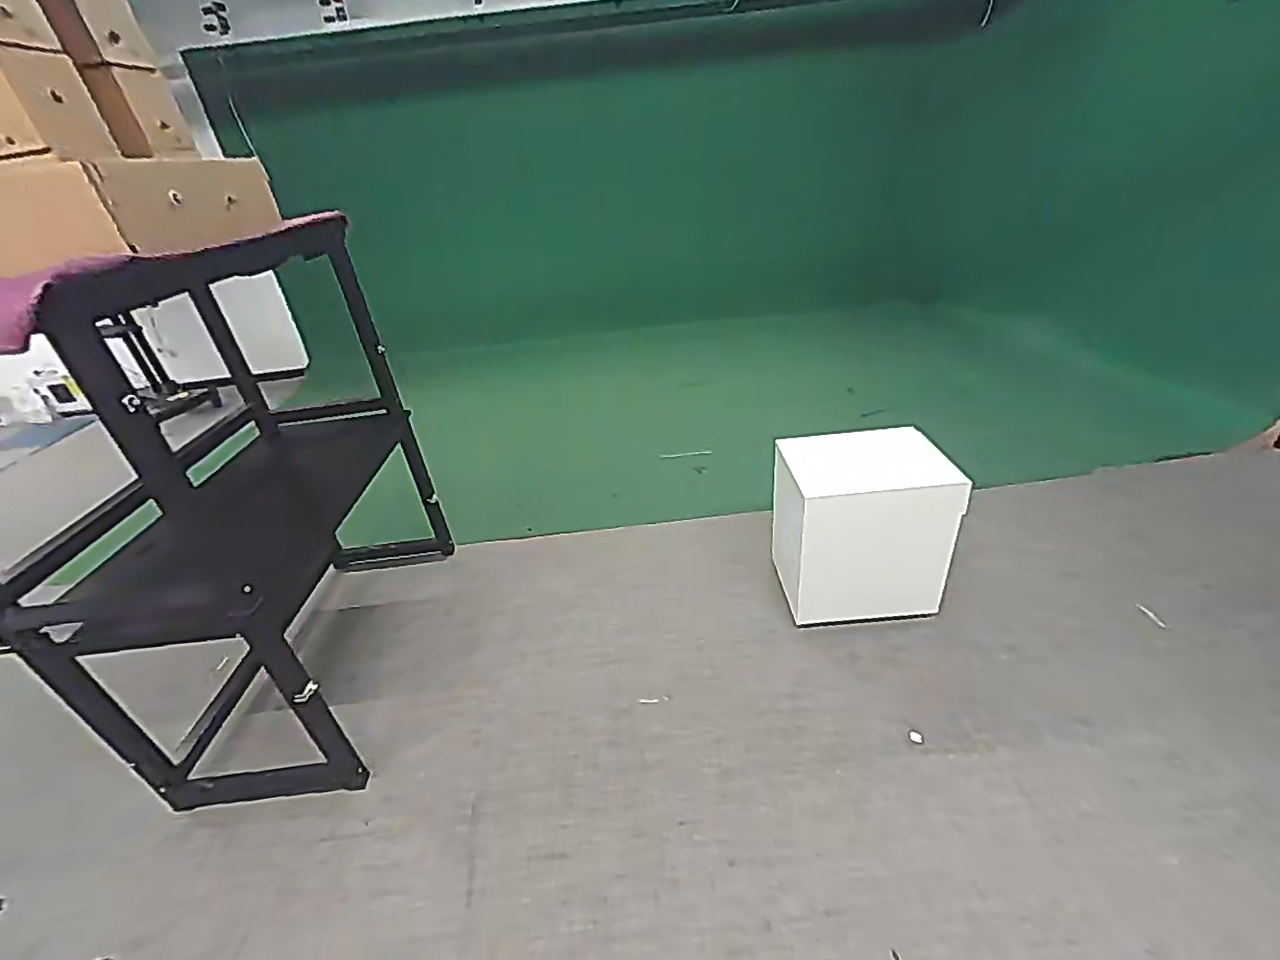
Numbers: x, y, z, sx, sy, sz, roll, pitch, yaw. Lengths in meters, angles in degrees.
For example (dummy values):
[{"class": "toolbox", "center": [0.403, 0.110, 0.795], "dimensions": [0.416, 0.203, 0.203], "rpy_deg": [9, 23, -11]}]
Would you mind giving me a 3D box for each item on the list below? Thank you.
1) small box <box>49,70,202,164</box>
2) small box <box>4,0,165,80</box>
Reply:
[{"class": "small box", "center": [-1.249, -0.885, 1.329], "dimensions": [0.179, 0.176, 0.168], "rpy_deg": [-6, 33, 2]}, {"class": "small box", "center": [-1.263, -1.015, 1.232], "dimensions": [0.179, 0.176, 0.168], "rpy_deg": [-5, 32, 3]}]
